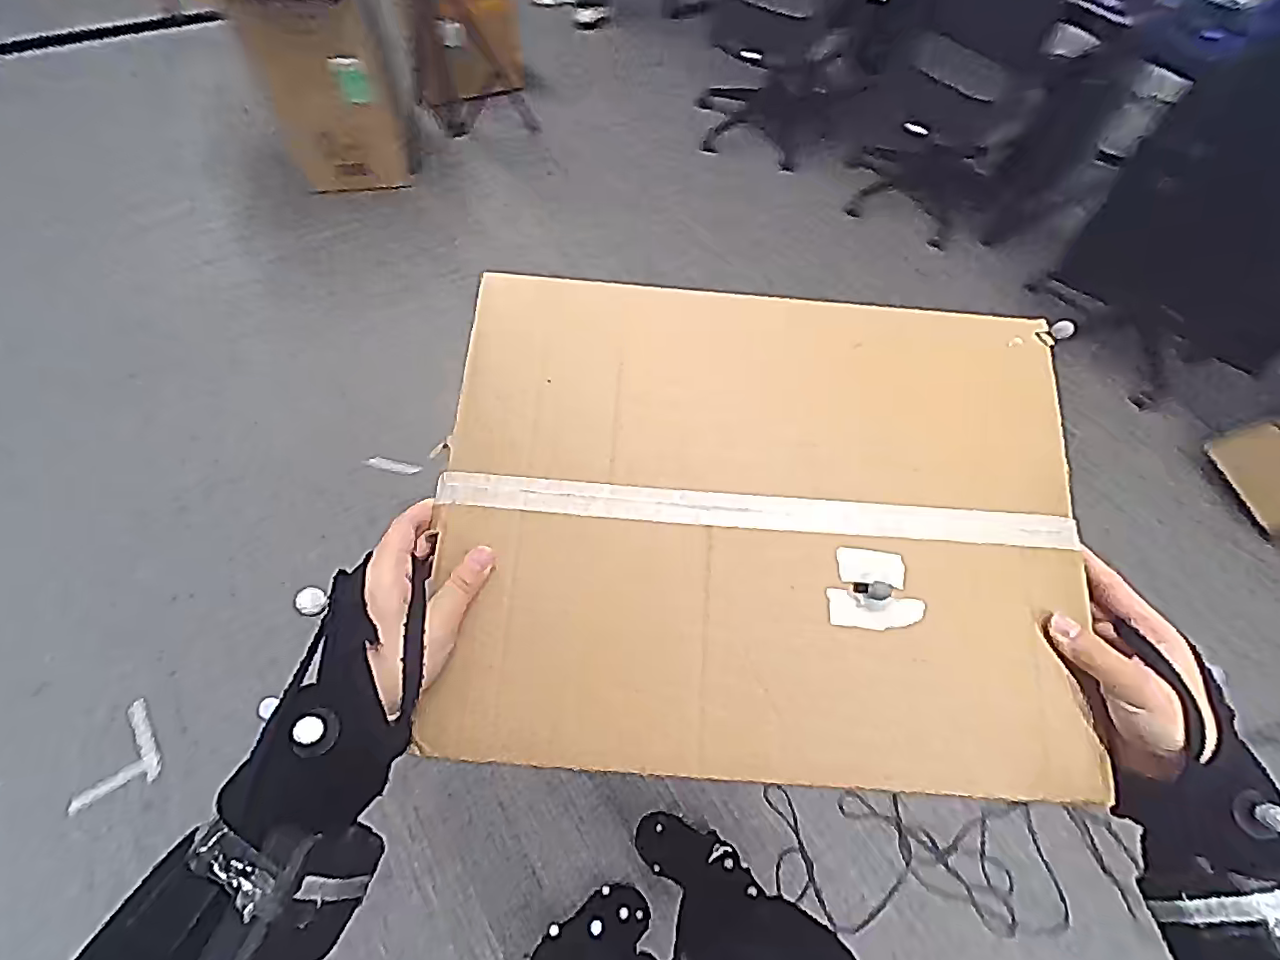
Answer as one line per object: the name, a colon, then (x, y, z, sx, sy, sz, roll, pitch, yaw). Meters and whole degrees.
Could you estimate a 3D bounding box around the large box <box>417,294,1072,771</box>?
large box: (0.063, 0.059, 0.502, 0.408, 0.320, 0.320, 3, 76, -2)
